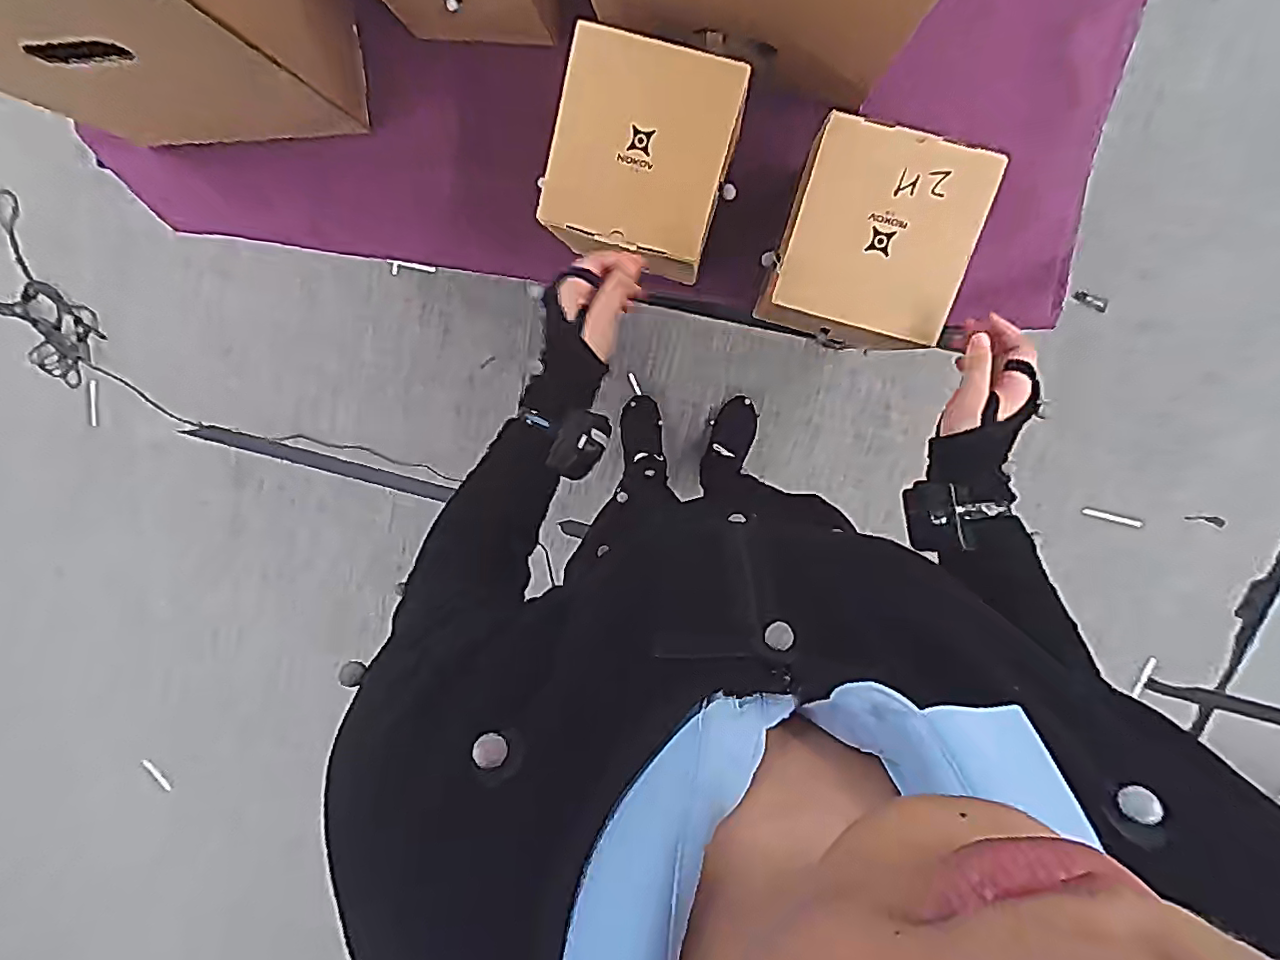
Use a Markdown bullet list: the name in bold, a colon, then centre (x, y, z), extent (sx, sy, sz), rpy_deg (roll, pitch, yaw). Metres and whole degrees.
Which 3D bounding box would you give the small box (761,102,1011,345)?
- **small box**: centre (0.235, -0.250, 0.574), extent (0.168, 0.176, 0.179), rpy_deg (17, 103, 2)
